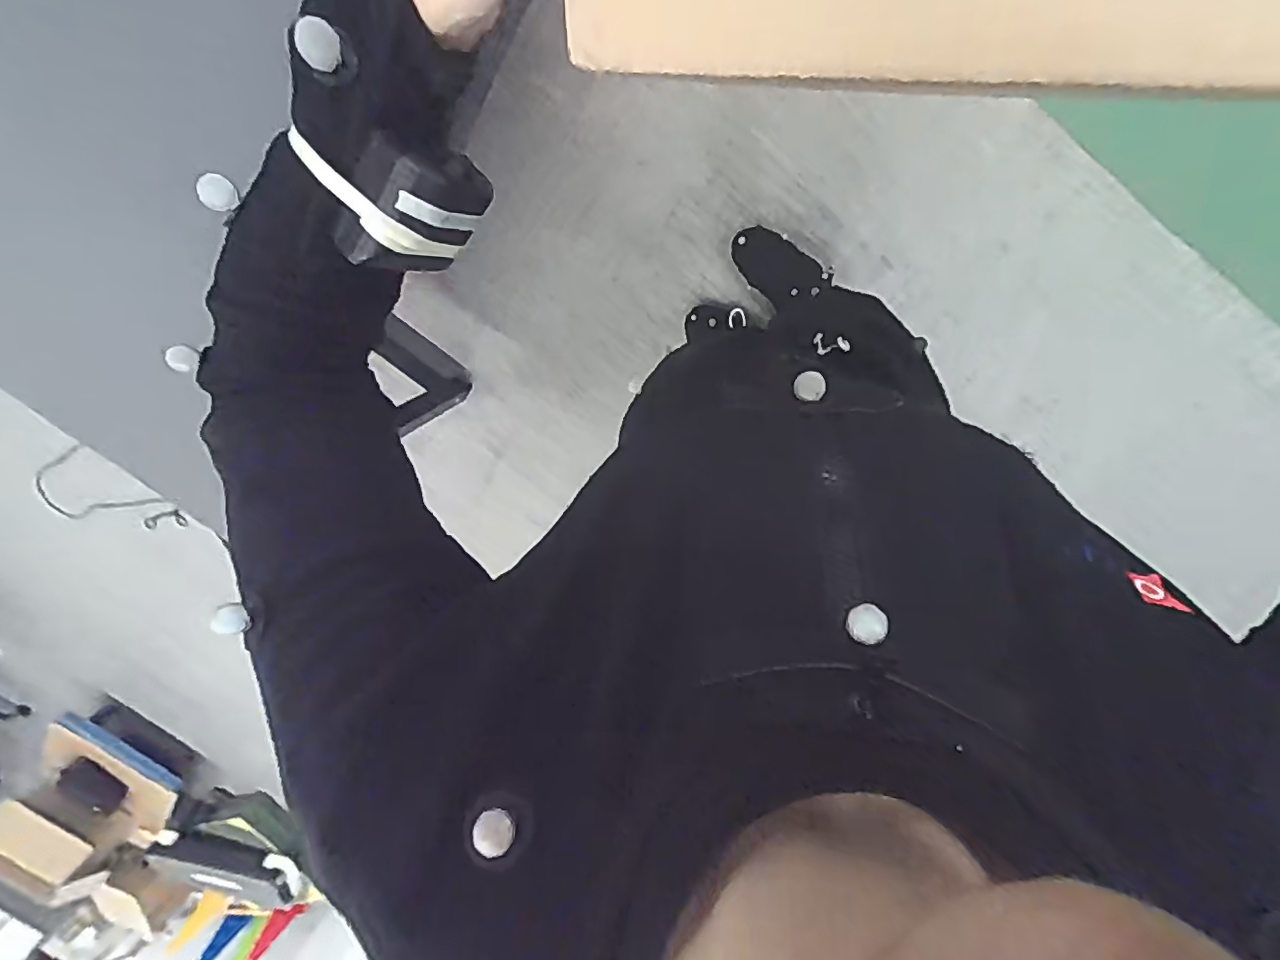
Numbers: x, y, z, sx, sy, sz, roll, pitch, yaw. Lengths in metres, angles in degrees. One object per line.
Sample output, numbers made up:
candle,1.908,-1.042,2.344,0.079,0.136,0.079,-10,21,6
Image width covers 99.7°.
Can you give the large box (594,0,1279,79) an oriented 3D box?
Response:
large box,0.203,-0.371,0.232,0.408,0.320,0.320,8,126,9
